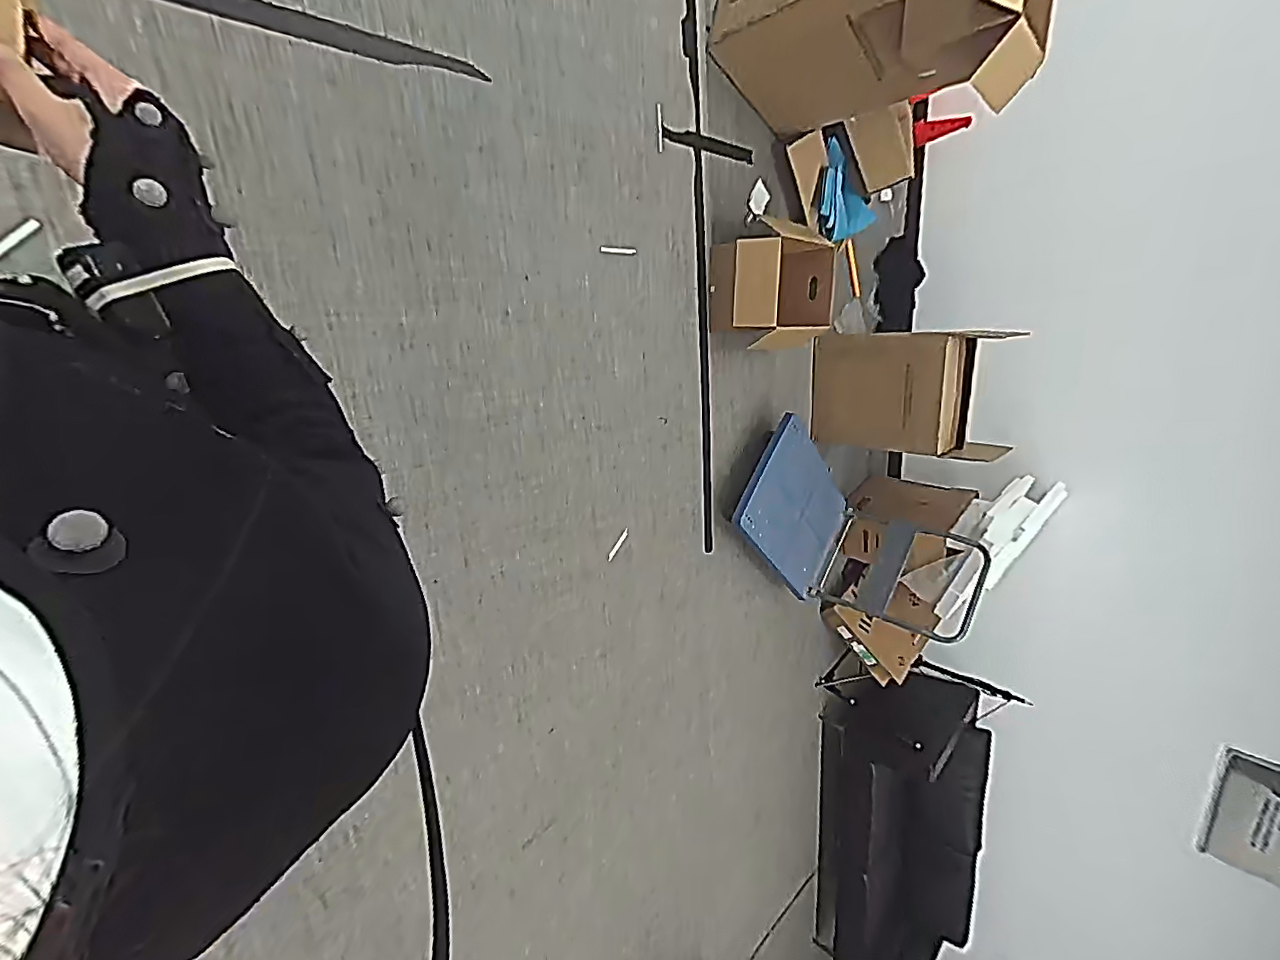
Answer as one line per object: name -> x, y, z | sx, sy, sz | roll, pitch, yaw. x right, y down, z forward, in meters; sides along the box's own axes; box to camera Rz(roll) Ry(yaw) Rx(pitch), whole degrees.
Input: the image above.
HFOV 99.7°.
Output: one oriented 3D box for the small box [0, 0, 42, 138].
small box -> -0.483, -0.329, 0.313 | 0.179, 0.176, 0.168 | -2, 105, -46
